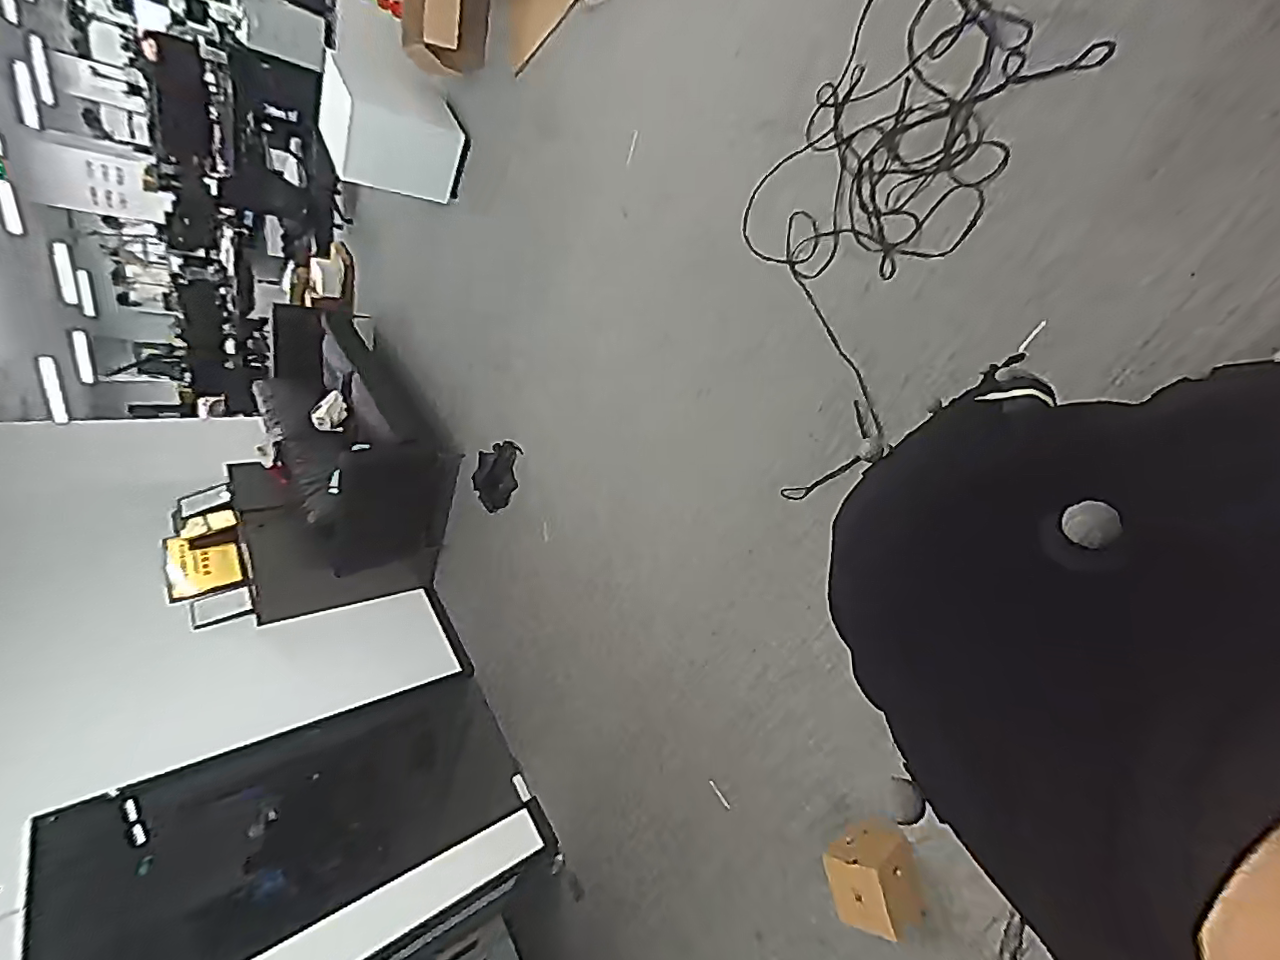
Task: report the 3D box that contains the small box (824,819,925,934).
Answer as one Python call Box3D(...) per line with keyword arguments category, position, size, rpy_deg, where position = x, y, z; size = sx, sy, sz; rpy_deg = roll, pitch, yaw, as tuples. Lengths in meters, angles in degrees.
Box3D(category="small box", position=(0.637, 1.062, 1.467), size=(0.168, 0.176, 0.179), rpy_deg=(-25, 78, 50))
